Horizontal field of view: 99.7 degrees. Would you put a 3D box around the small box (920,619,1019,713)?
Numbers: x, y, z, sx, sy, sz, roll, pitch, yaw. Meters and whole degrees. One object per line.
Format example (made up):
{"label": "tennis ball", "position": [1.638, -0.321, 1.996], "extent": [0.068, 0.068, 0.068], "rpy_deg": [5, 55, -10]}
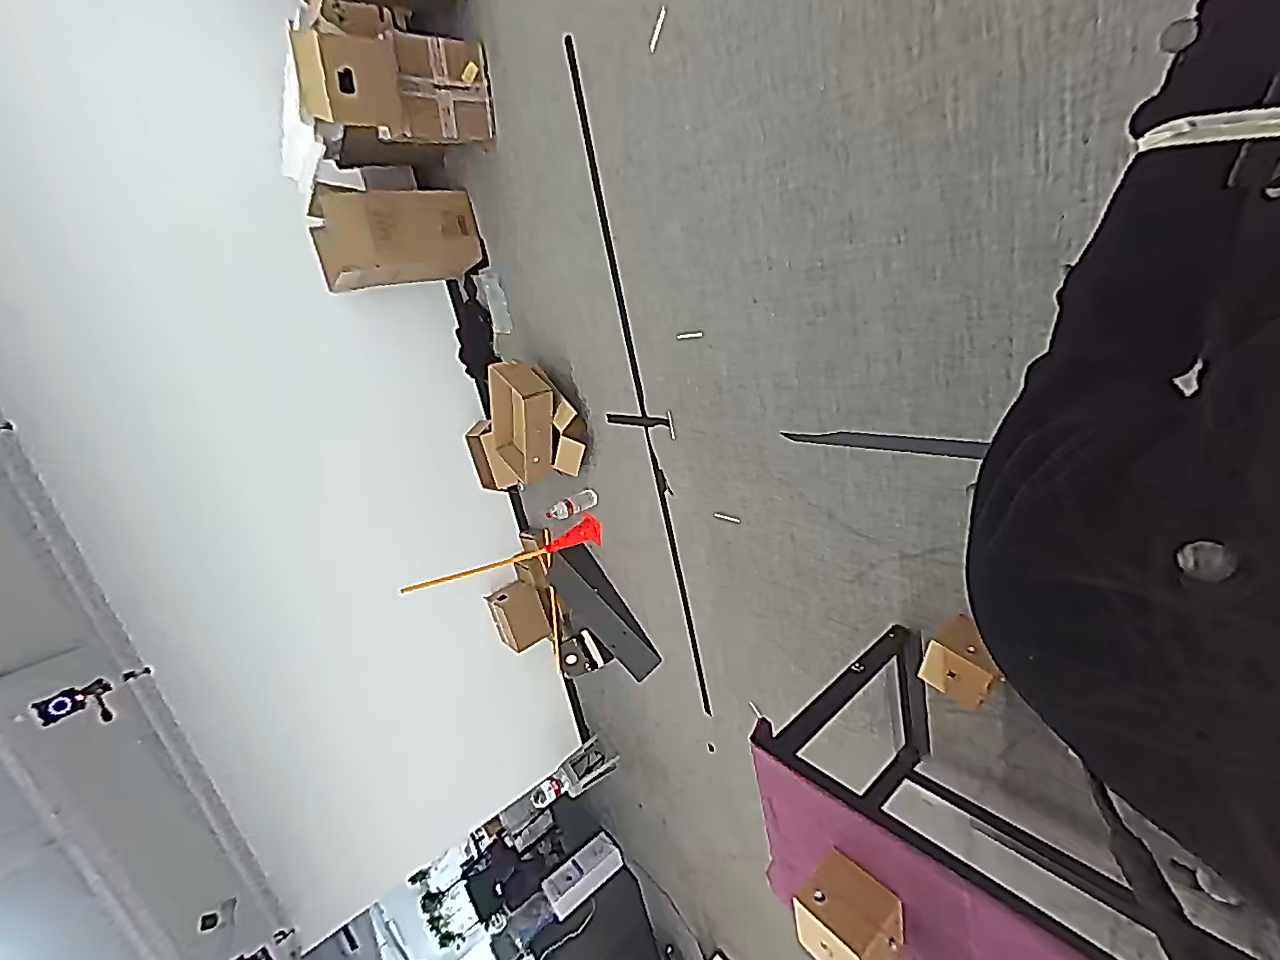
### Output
{"label": "small box", "position": [0.976, 0.540, 1.606], "extent": [0.179, 0.176, 0.168], "rpy_deg": [31, 133, 41]}

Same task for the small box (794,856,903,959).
{"label": "small box", "position": [0.485, 1.027, 1.257], "extent": [0.179, 0.176, 0.168], "rpy_deg": [14, 122, 51]}
